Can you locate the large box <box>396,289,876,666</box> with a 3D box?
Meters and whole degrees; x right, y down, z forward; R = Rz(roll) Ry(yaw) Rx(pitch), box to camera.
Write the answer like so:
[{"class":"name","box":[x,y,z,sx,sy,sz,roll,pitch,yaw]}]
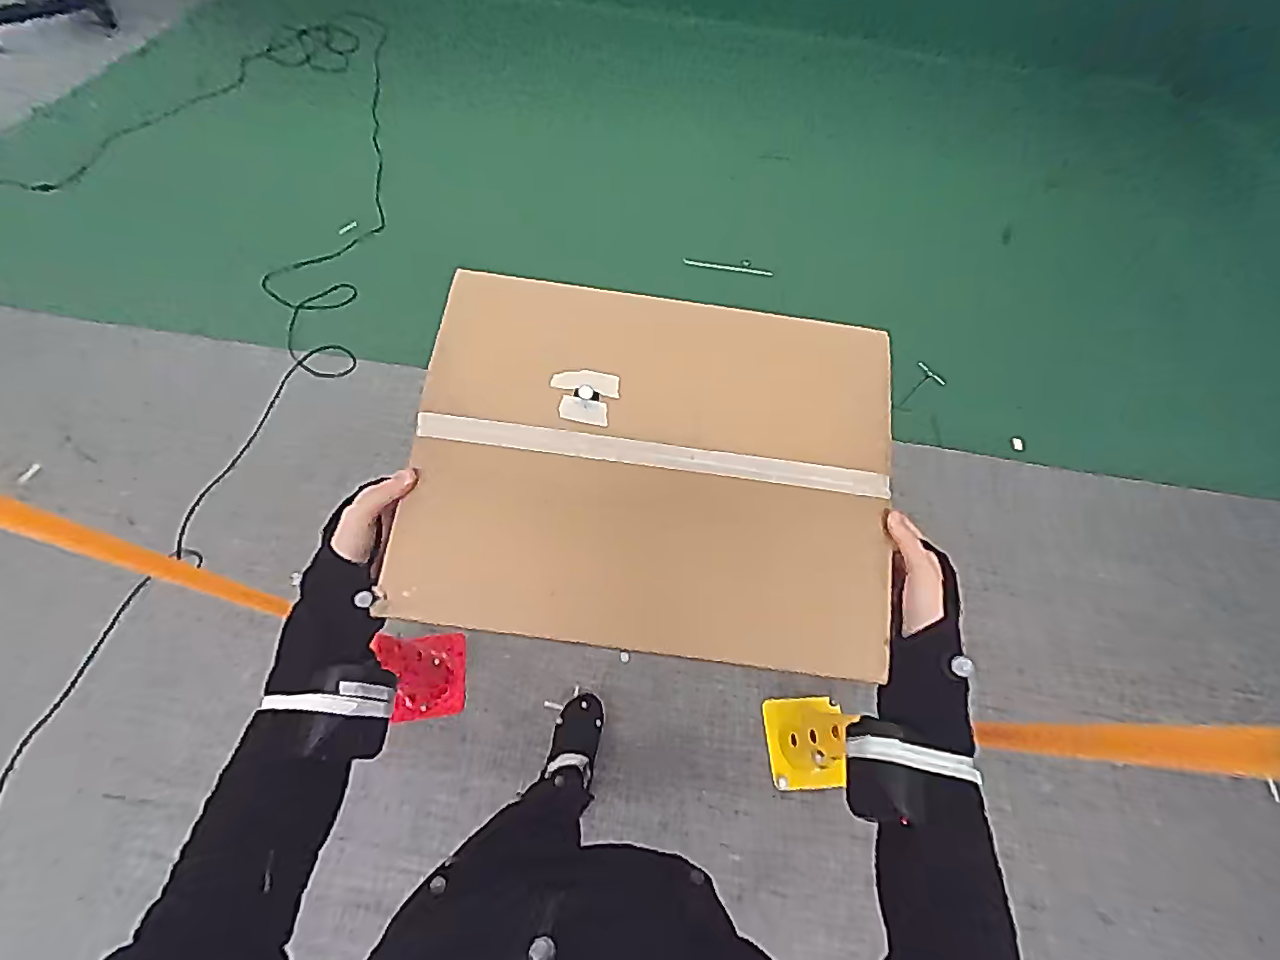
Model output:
[{"class":"large box","box":[0.010,0.022,0.624,0.408,0.320,0.320,7,74,0]}]
